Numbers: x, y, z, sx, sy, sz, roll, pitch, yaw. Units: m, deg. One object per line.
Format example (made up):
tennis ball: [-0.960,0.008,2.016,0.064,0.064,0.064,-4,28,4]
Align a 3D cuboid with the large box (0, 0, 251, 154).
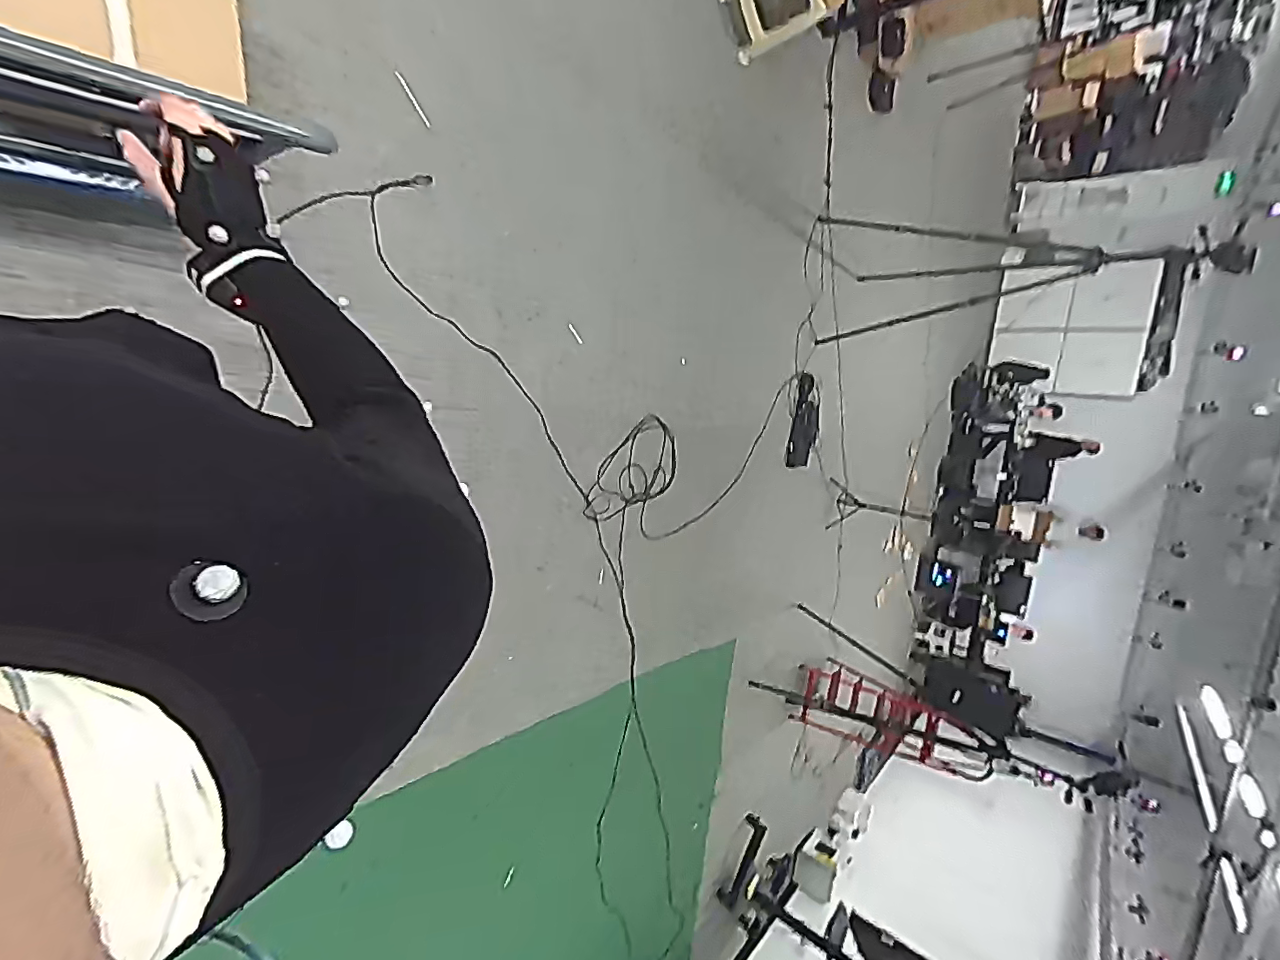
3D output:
large box: [-0.880,-0.816,0.874,0.320,0.320,0.408,-13,109,-47]
